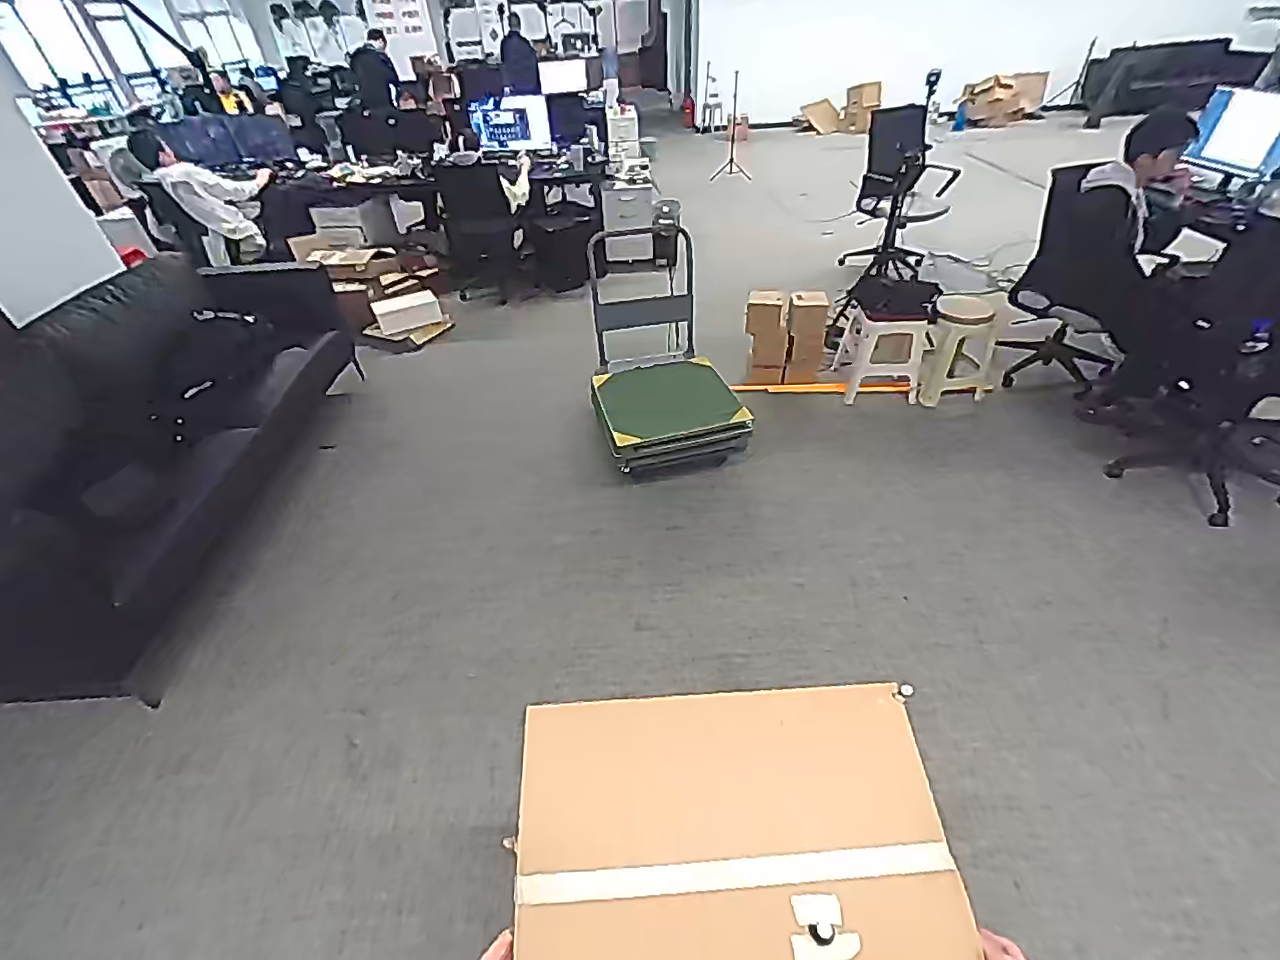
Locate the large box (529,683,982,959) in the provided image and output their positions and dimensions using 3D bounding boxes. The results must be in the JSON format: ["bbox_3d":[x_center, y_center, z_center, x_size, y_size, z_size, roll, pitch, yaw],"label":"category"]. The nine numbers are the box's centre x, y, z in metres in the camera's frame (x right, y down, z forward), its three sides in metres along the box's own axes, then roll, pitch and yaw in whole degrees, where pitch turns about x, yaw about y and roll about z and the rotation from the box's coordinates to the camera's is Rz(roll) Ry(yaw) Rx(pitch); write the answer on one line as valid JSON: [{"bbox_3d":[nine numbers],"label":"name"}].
[{"bbox_3d":[0.093,0.451,0.629,0.408,0.320,0.320,-4,57,-3],"label":"large box"}]
